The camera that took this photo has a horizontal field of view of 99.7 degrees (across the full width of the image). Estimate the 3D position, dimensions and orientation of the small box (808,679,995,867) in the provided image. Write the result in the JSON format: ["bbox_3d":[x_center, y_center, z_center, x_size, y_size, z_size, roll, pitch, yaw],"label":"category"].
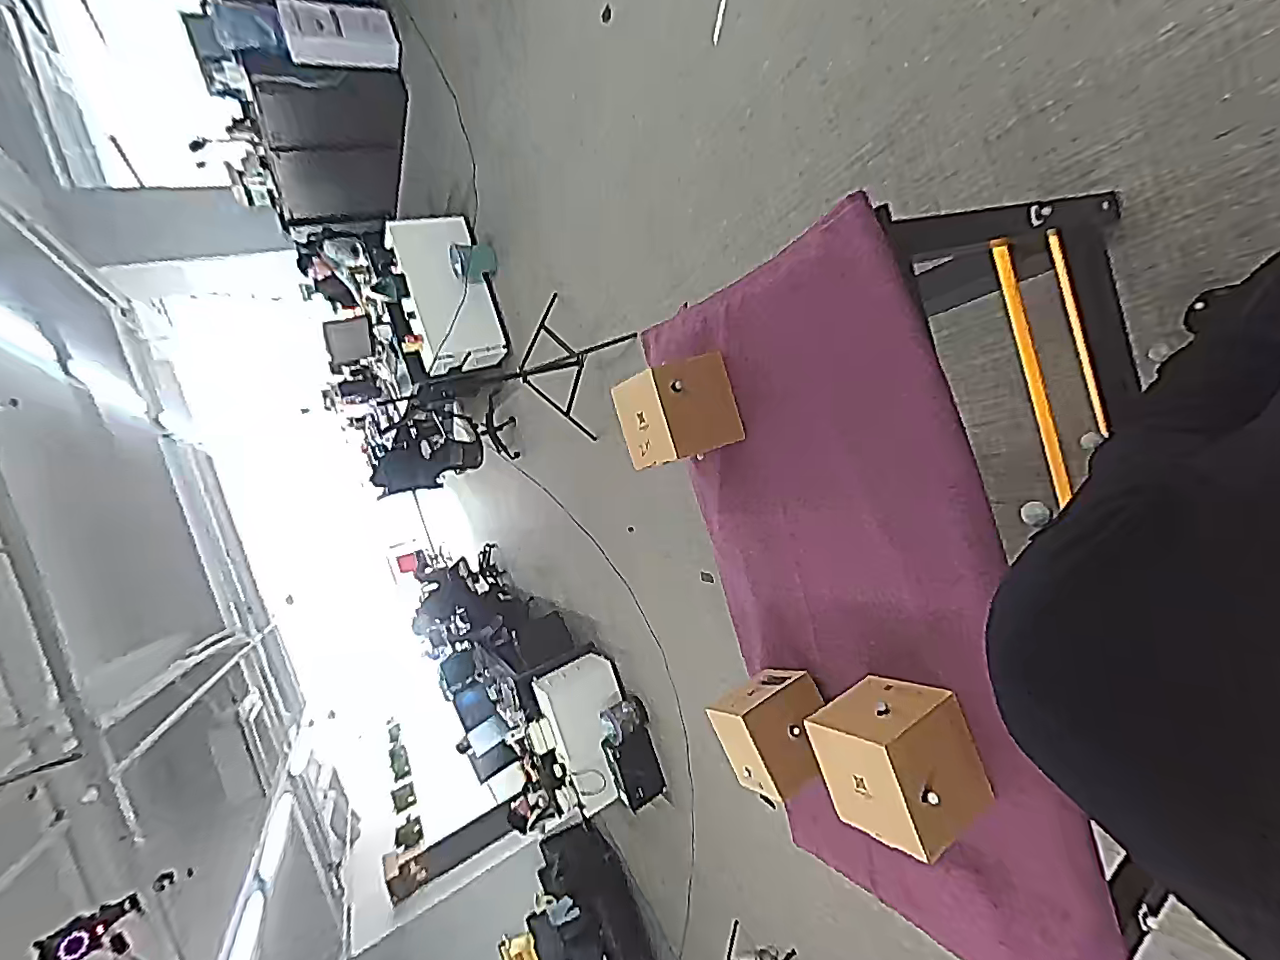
[{"bbox_3d":[0.402,0.433,0.839,0.168,0.176,0.179,-24,86,63],"label":"small box"}]

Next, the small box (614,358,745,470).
[{"bbox_3d":[0.077,-0.131,1.063,0.168,0.176,0.179,-12,97,62],"label":"small box"}]
